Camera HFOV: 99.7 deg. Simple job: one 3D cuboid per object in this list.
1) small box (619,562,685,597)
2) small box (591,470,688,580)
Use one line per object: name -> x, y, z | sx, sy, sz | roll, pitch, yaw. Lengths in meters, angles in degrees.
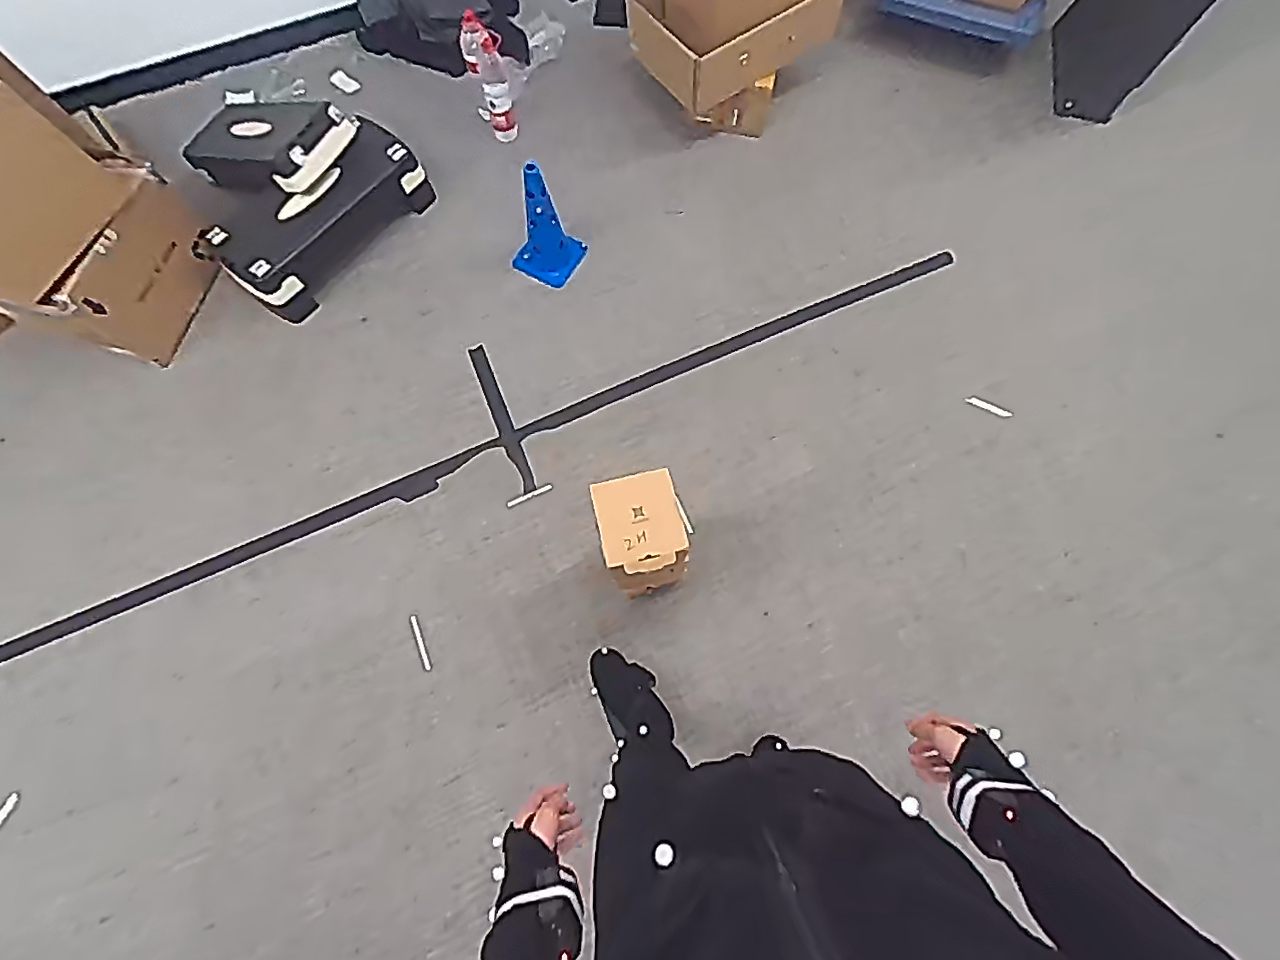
small box -> 0.012, 0.206, 1.451 | 0.168, 0.176, 0.179 | -19, 73, -6
small box -> -0.005, 0.099, 1.139 | 0.168, 0.176, 0.179 | -13, 73, -4
